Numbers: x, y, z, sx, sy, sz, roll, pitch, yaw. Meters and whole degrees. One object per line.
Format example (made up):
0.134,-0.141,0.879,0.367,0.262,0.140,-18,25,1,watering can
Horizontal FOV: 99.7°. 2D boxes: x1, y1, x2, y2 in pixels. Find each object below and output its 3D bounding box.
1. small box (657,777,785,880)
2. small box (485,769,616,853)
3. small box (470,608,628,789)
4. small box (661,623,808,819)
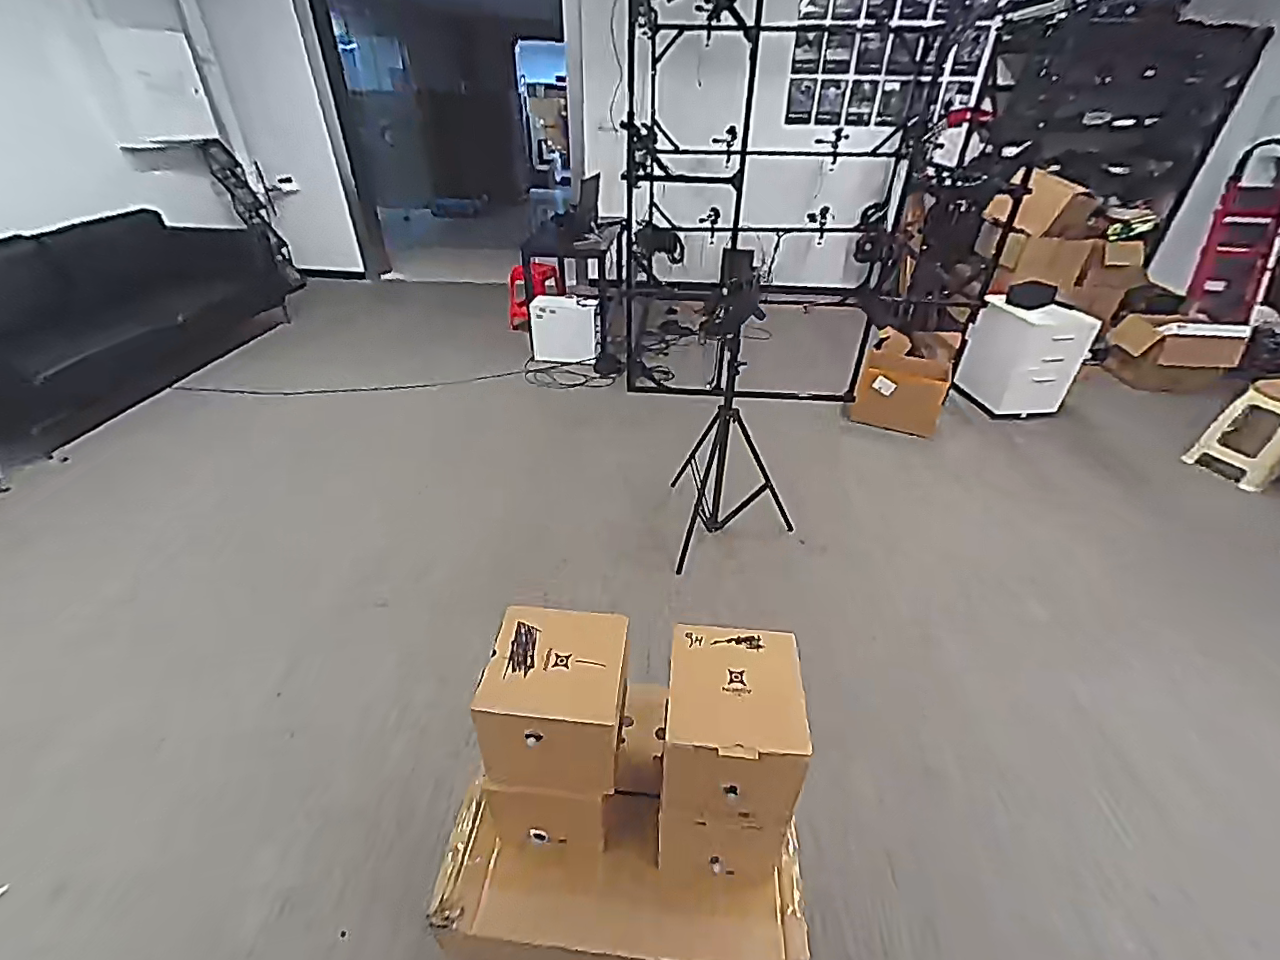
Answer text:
0.113,0.458,0.809,0.168,0.176,0.179,2,35,5,small box
-0.124,0.438,0.836,0.168,0.176,0.179,3,36,4,small box
-0.112,0.300,0.747,0.179,0.176,0.168,4,35,3,small box
0.116,0.319,0.719,0.168,0.176,0.179,4,36,5,small box
